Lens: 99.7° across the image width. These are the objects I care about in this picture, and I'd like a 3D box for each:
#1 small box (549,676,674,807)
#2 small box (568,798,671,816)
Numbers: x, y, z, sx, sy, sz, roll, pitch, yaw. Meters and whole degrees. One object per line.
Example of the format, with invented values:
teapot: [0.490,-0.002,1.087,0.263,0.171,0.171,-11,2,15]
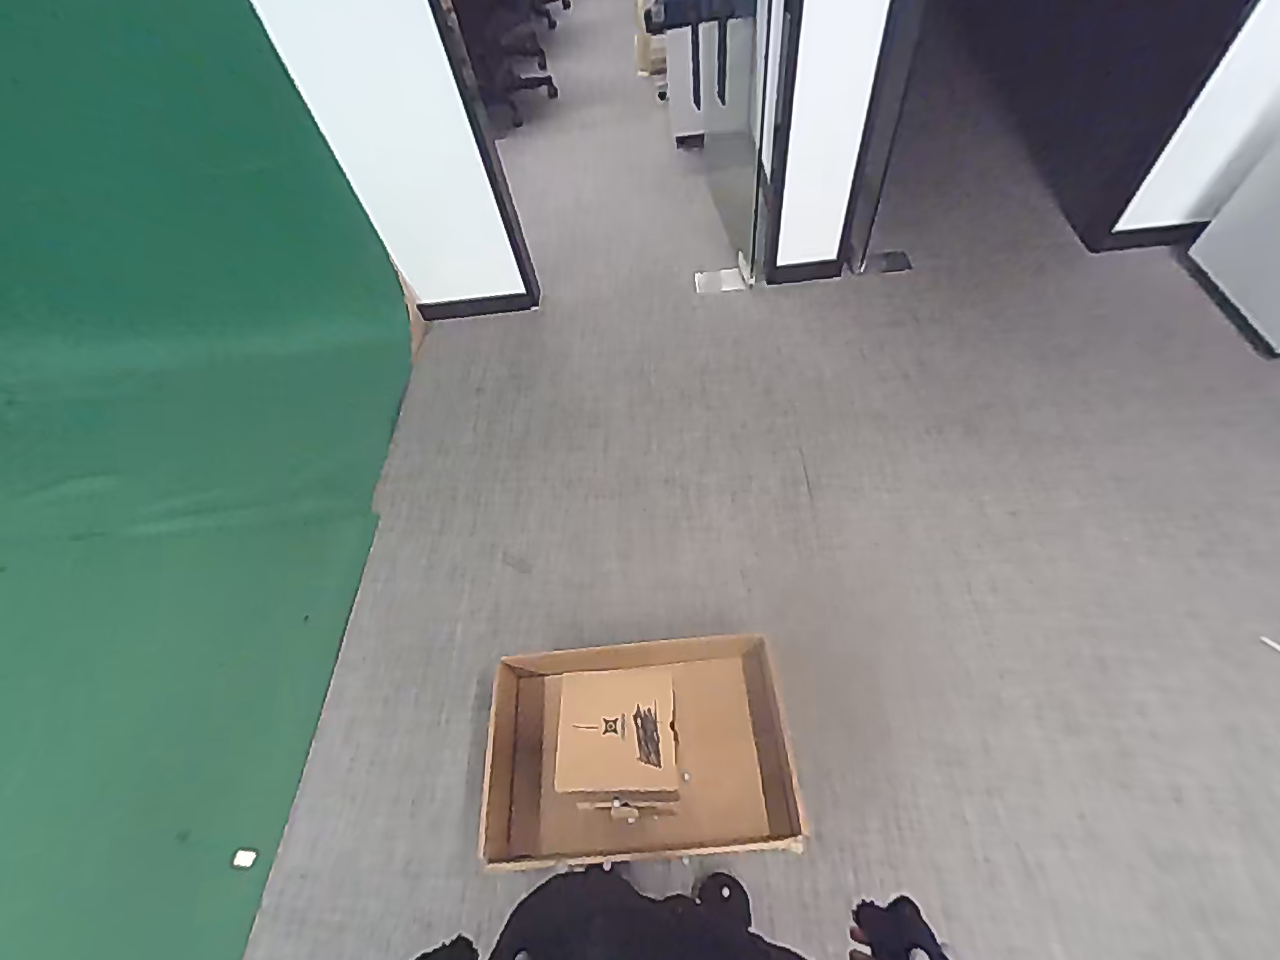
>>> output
small box: [-0.035,0.423,0.871,0.179,0.176,0.168,-3,54,5]
small box: [-0.030,0.512,0.990,0.168,0.176,0.179,-3,55,4]
